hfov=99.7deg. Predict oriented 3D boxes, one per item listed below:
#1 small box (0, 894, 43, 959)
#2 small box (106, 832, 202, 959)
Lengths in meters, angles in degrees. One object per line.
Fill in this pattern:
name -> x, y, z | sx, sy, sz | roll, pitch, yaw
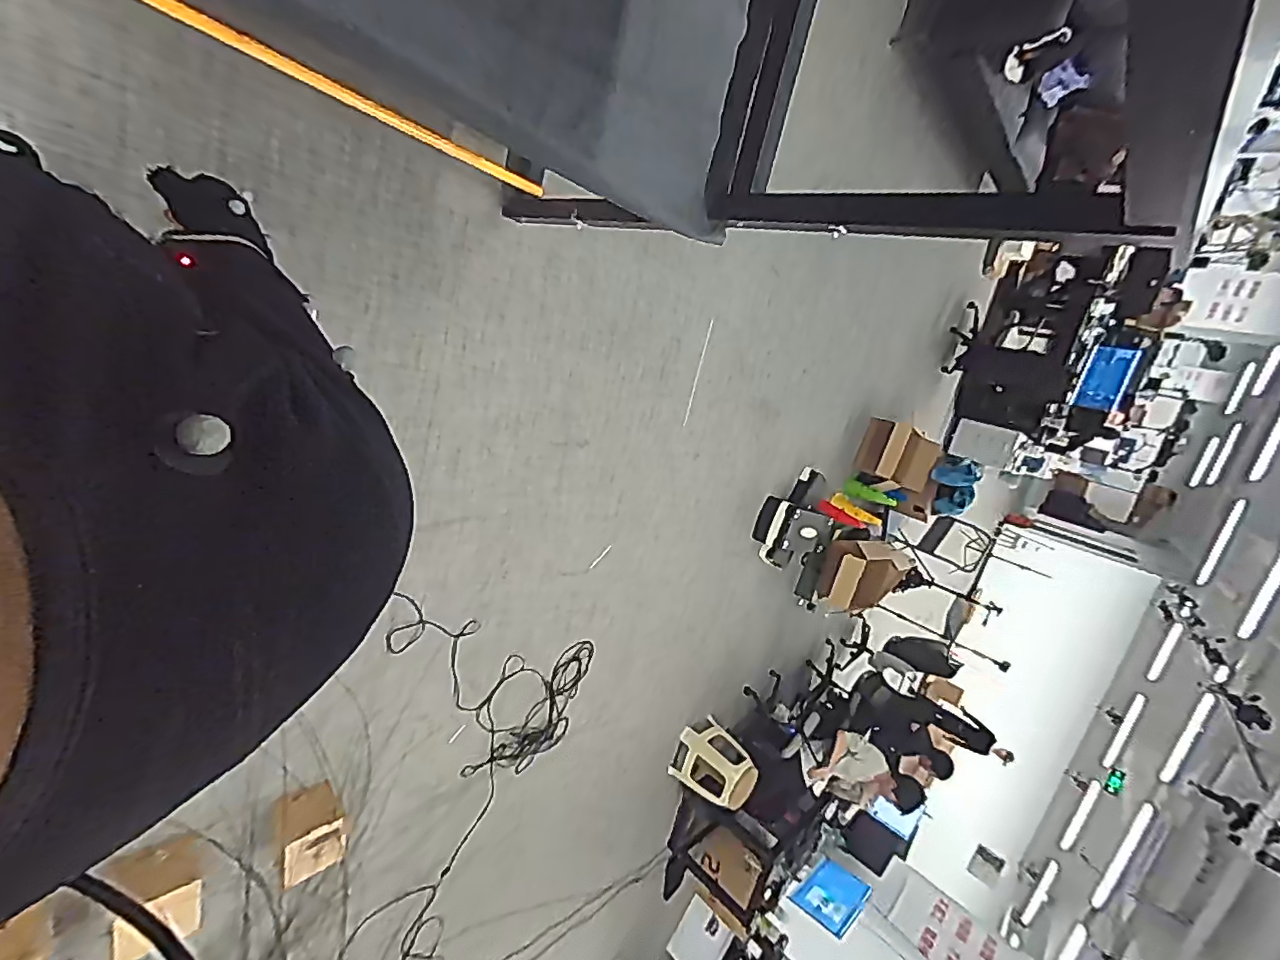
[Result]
small box -> -1.452, 1.079, 1.190 | 0.168, 0.176, 0.179 | 11, 100, -50
small box -> -1.260, 1.074, 1.402 | 0.168, 0.176, 0.179 | -4, 110, -49
